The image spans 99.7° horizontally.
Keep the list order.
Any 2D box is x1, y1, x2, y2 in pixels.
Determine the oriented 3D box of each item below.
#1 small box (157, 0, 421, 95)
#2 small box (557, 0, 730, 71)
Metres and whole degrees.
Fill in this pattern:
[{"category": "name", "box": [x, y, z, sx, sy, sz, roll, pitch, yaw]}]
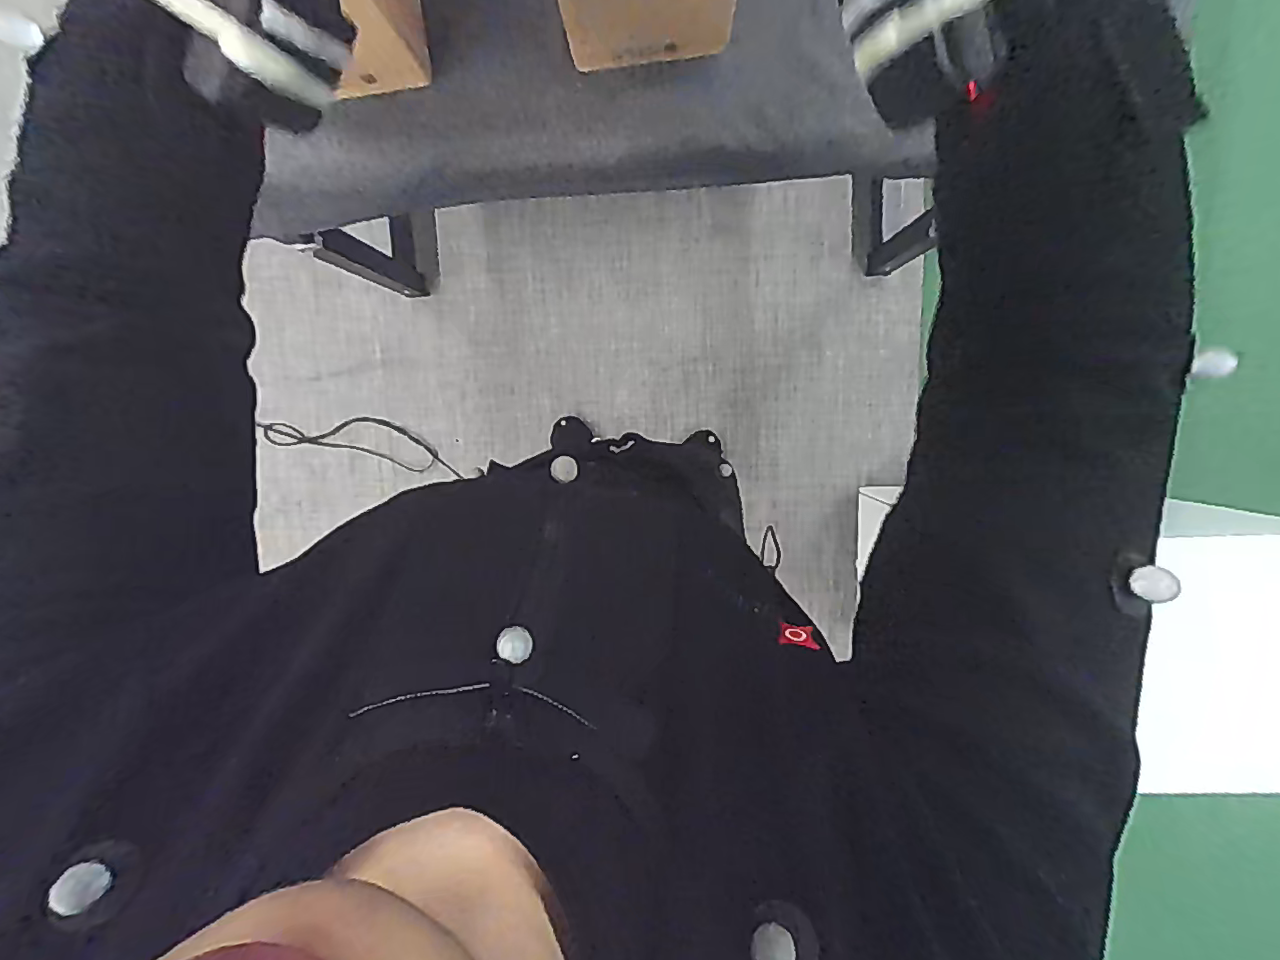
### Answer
[{"category": "small box", "box": [-0.326, -0.497, 0.505, 0.168, 0.176, 0.179, -7, 97, 2]}, {"category": "small box", "box": [-0.003, -0.526, 0.495, 0.168, 0.176, 0.179, -5, 96, 2]}]
